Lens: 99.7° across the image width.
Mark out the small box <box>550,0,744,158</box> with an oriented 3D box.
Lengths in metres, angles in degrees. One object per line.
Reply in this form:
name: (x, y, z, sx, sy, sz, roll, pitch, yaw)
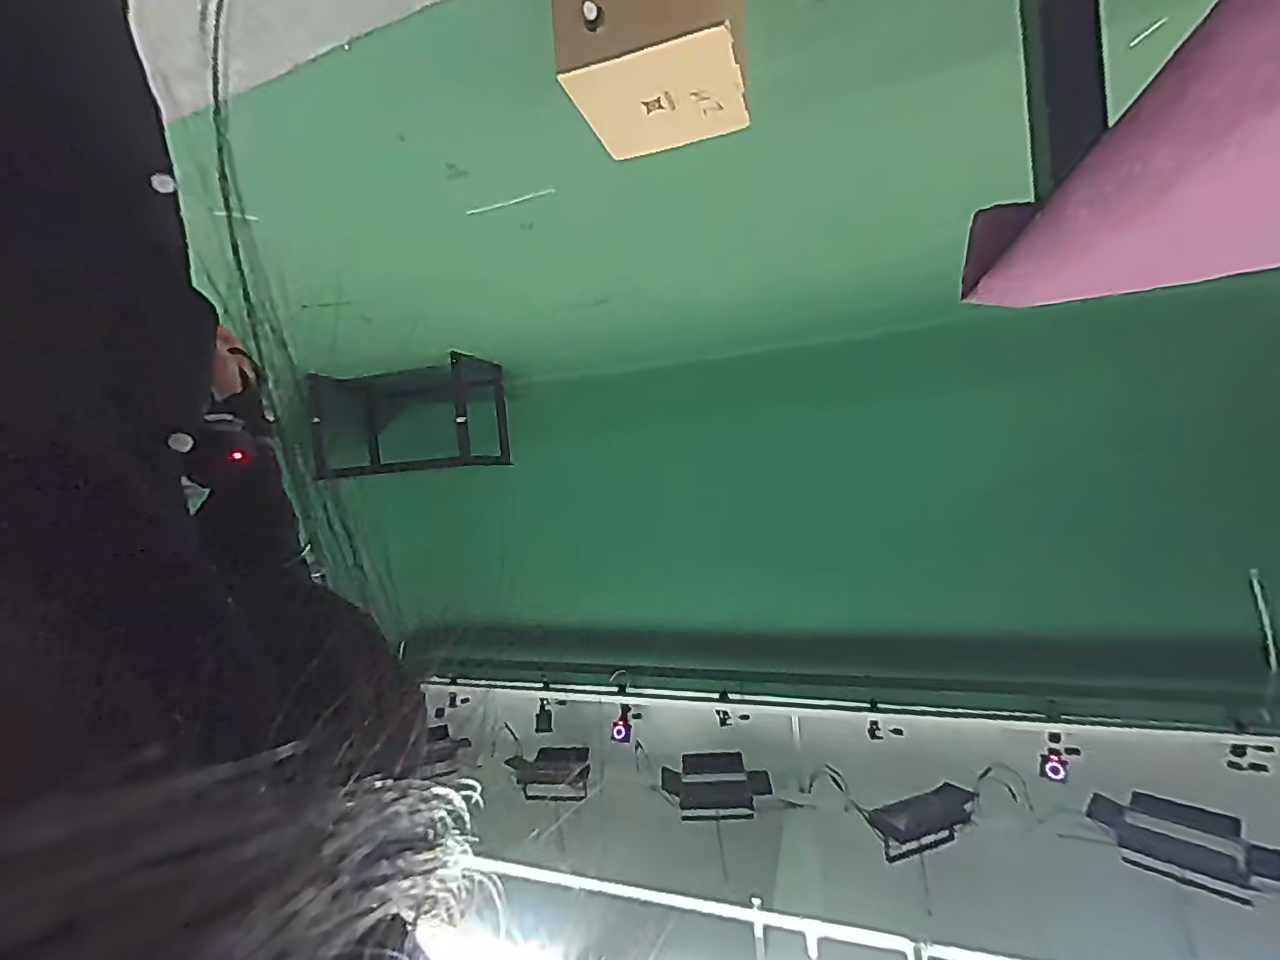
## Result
small box: (0.013, -0.493, 0.584, 0.179, 0.176, 0.168, -4, -178, 18)
